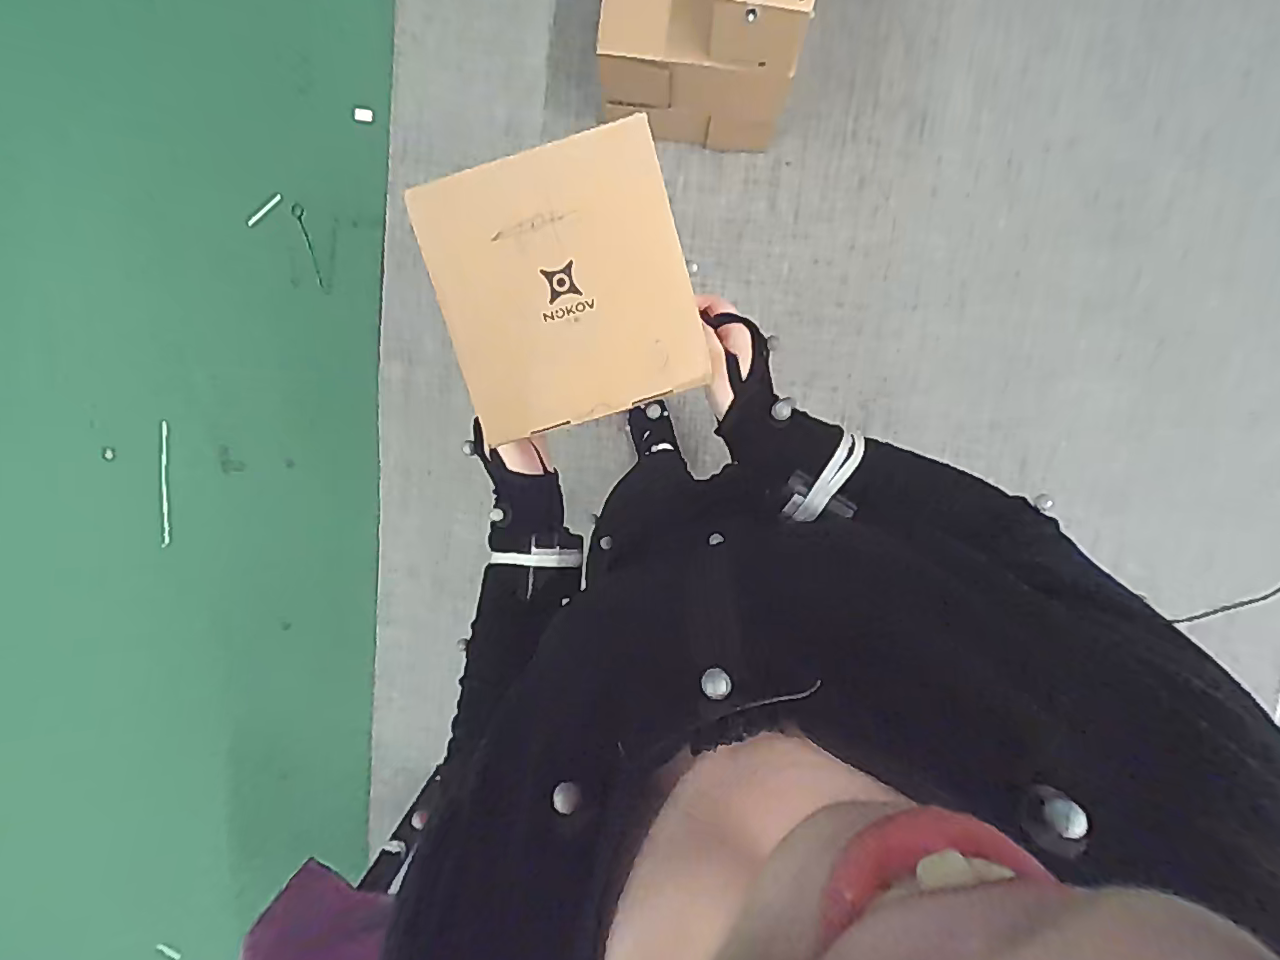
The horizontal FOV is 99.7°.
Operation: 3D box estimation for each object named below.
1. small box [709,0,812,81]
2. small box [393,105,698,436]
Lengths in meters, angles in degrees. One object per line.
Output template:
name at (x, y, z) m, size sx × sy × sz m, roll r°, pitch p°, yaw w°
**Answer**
small box at (0.223, -0.880, 0.982) m, size 0.168 × 0.176 × 0.179 m, roll 11°, pitch 95°, yaw 2°
small box at (-0.058, -0.146, 0.434) m, size 0.168 × 0.176 × 0.179 m, roll -16°, pitch 98°, yaw 2°
